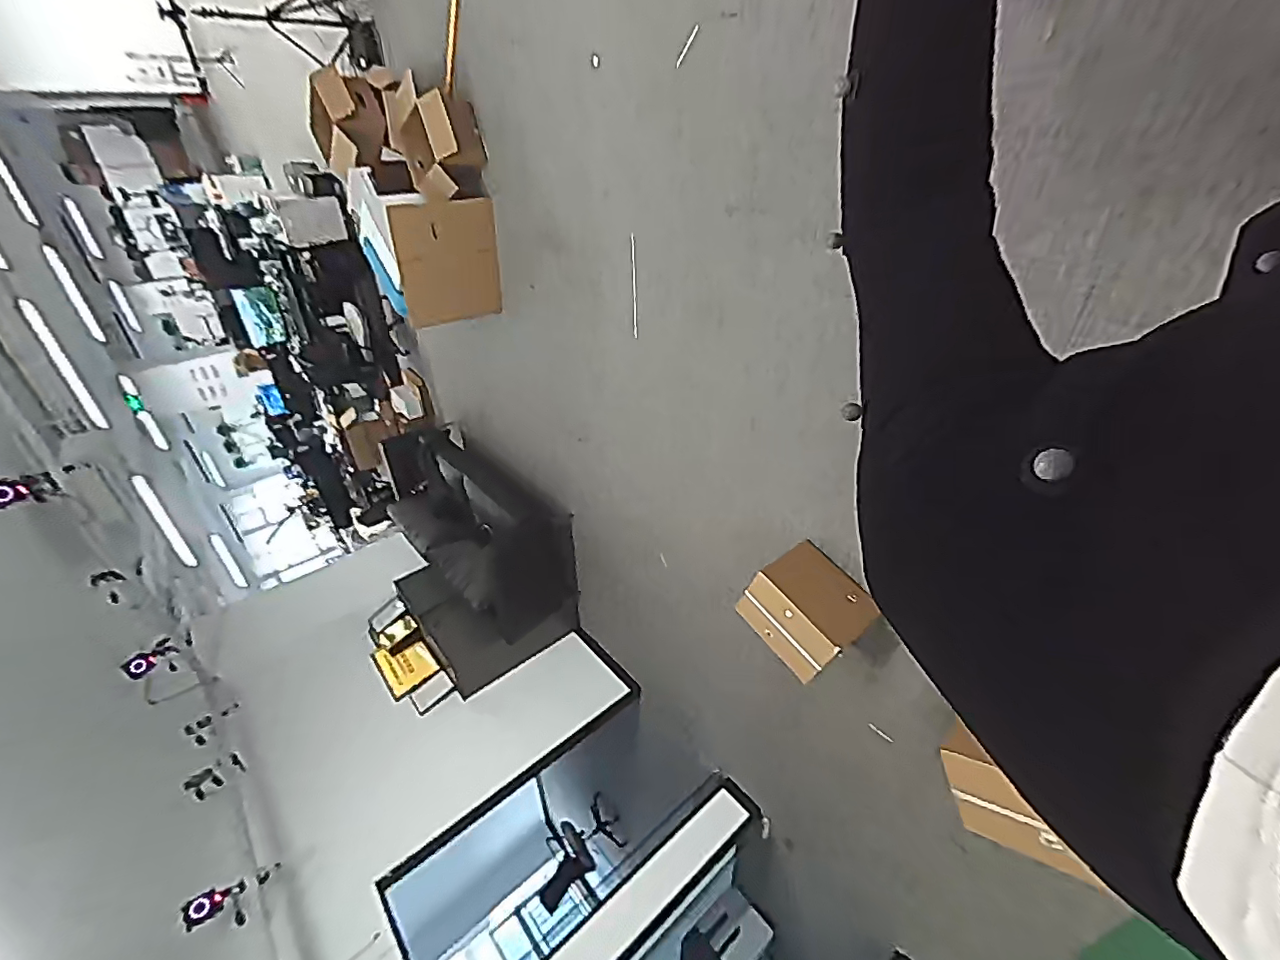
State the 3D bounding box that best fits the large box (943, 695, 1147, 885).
[{"bbox_3d":[1.252,0.924,1.684,0.408,0.320,0.320,-10,104,56],"label":"large box"}]
